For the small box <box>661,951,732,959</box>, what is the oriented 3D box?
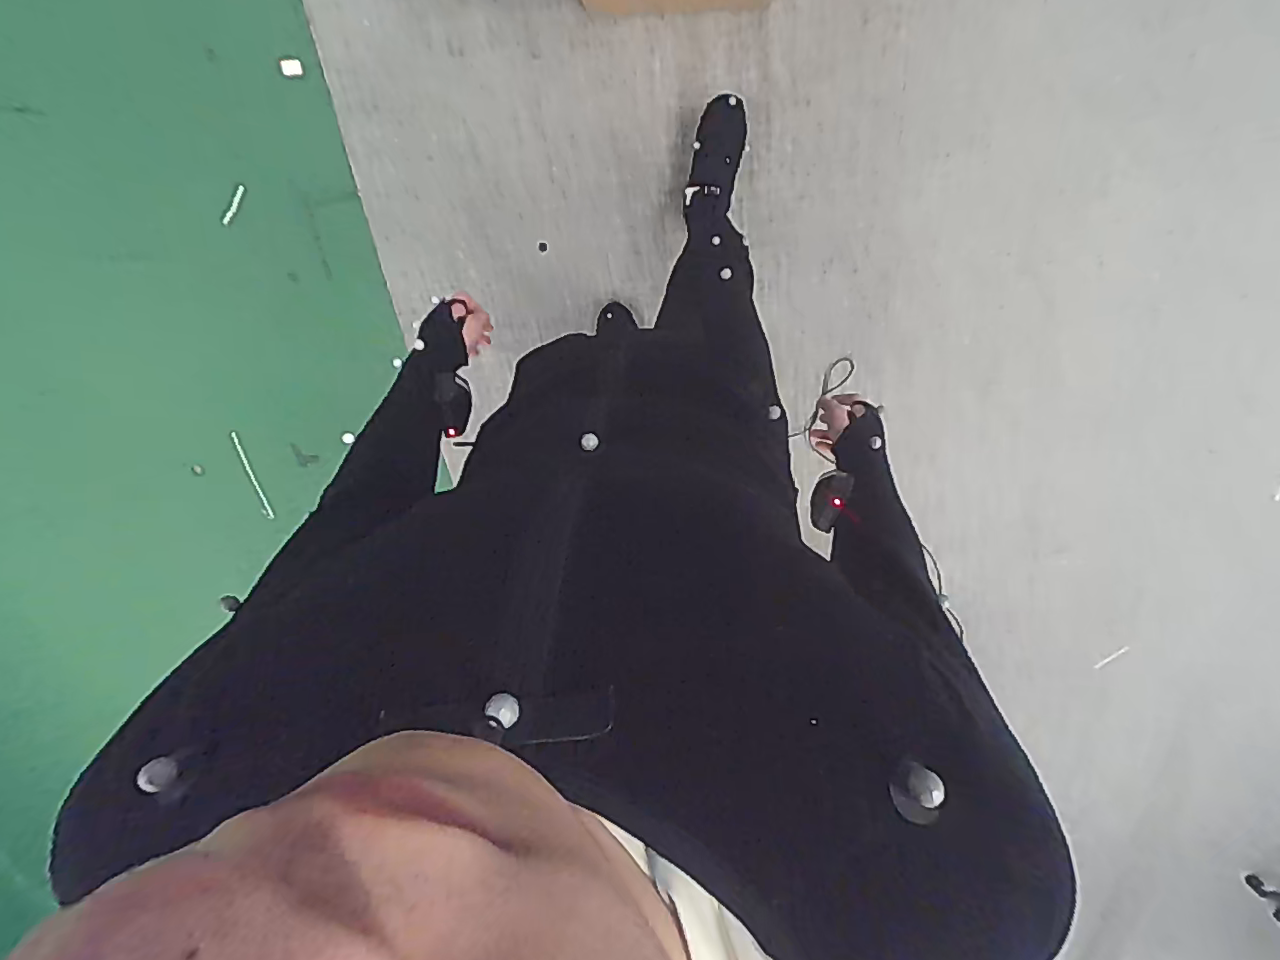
[{"bbox_3d":[0.134,1.186,1.201,0.168,0.176,0.179,-5,117,6],"label":"small box"}]
